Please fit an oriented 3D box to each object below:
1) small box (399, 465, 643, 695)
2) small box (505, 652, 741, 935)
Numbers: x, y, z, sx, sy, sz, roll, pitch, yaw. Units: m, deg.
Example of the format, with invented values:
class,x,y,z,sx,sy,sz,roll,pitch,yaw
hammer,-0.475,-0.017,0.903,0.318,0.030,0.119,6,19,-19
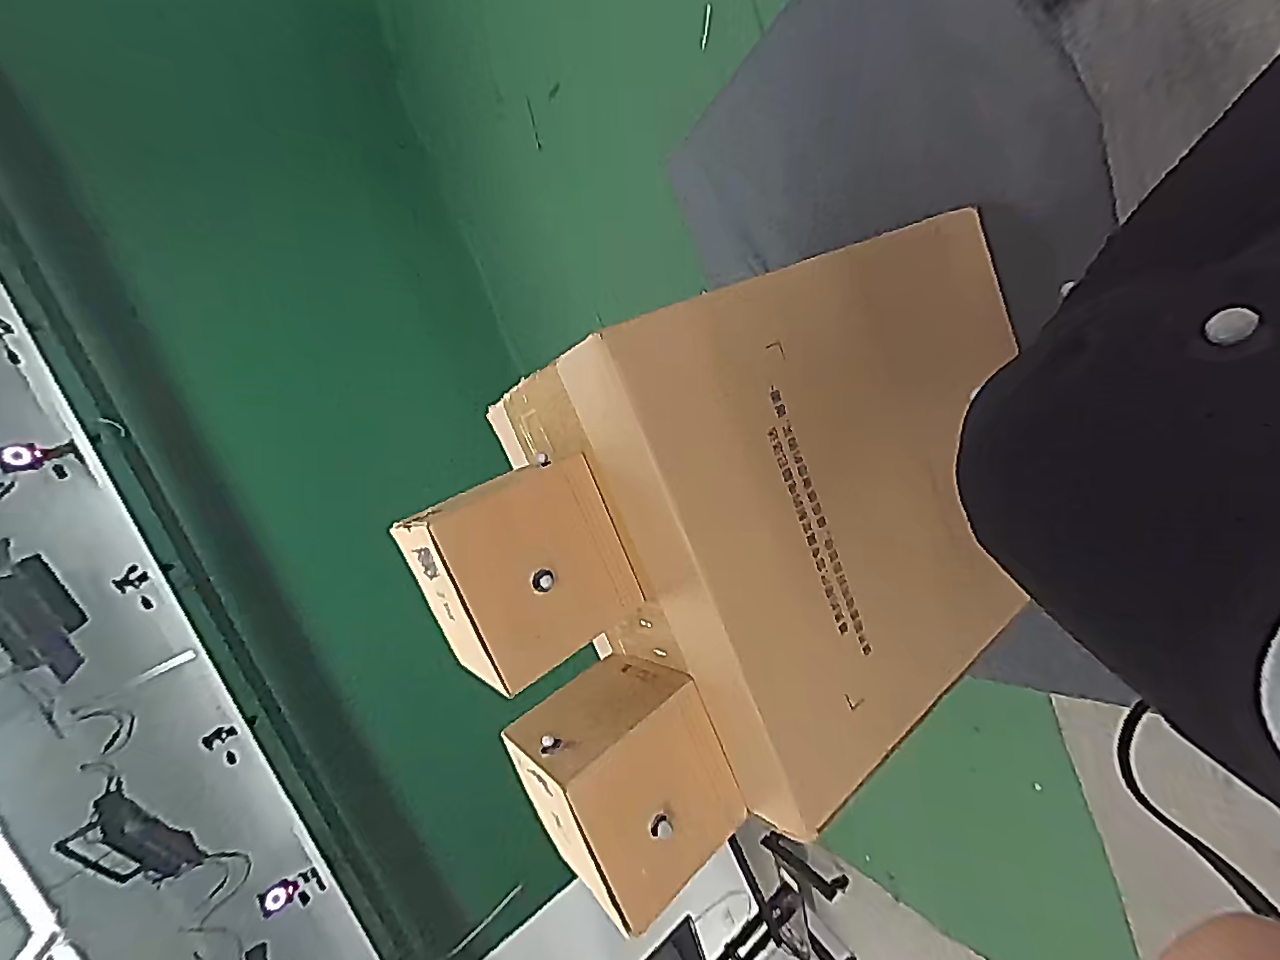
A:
class,x,y,z,sx,sy,sz,roll,pitch,yaw
small box,-0.128,0.092,0.584,0.168,0.176,0.179,-9,107,56
small box,-0.017,0.324,0.601,0.168,0.176,0.179,-10,105,57
